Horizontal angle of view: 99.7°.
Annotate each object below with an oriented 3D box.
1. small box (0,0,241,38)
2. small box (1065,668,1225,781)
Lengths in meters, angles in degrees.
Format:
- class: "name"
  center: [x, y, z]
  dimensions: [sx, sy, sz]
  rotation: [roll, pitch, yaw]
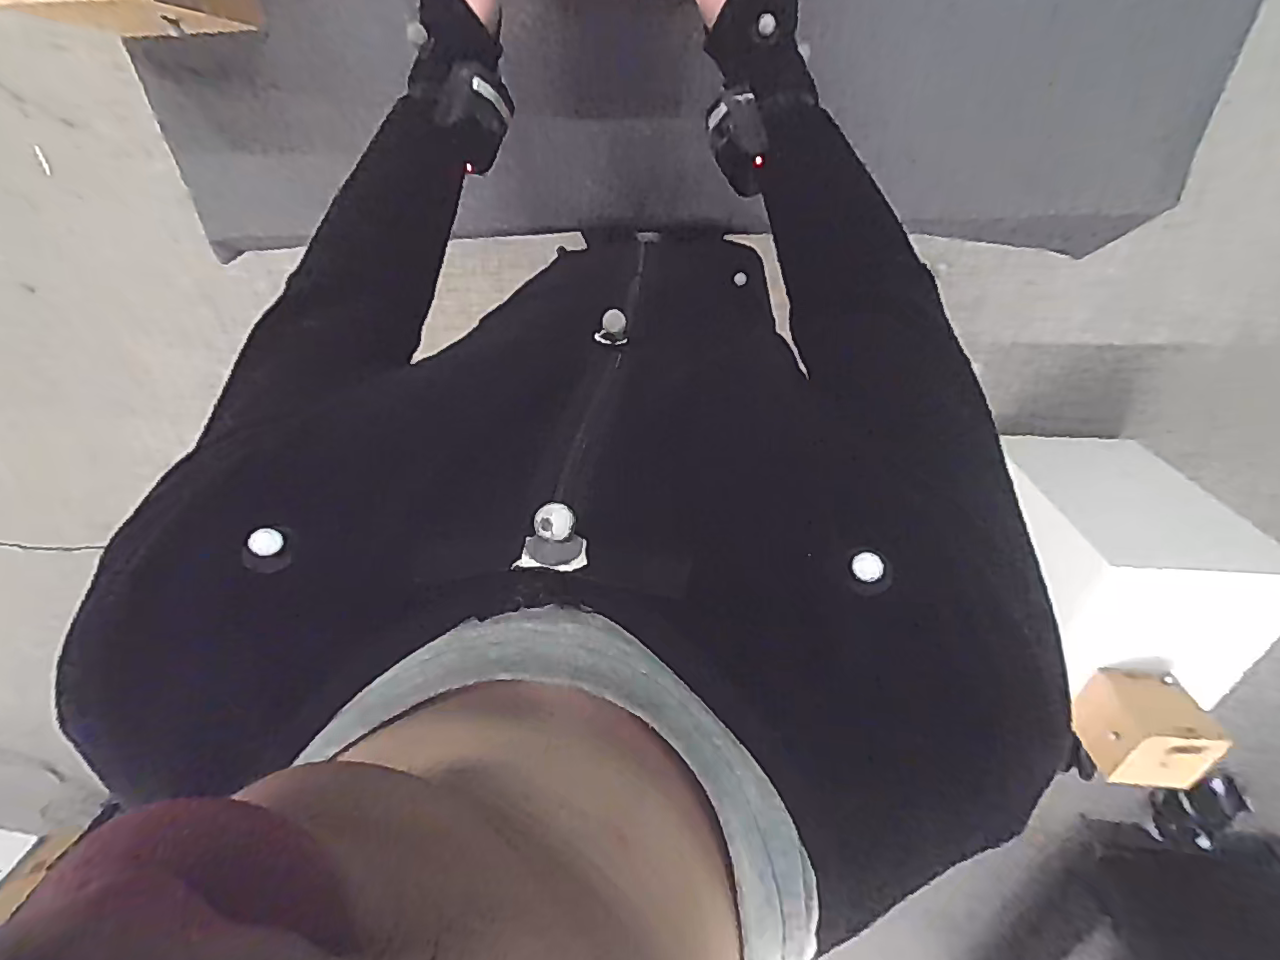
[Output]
- class: "small box"
  center: [-0.500, -0.509, 0.474]
  dimensions: [0.179, 0.176, 0.168]
  rotation: [0, 120, 4]
- class: "small box"
  center: [1.106, 0.541, 1.207]
  dimensions: [0.168, 0.176, 0.179]
  rotation: [2, 122, 2]
